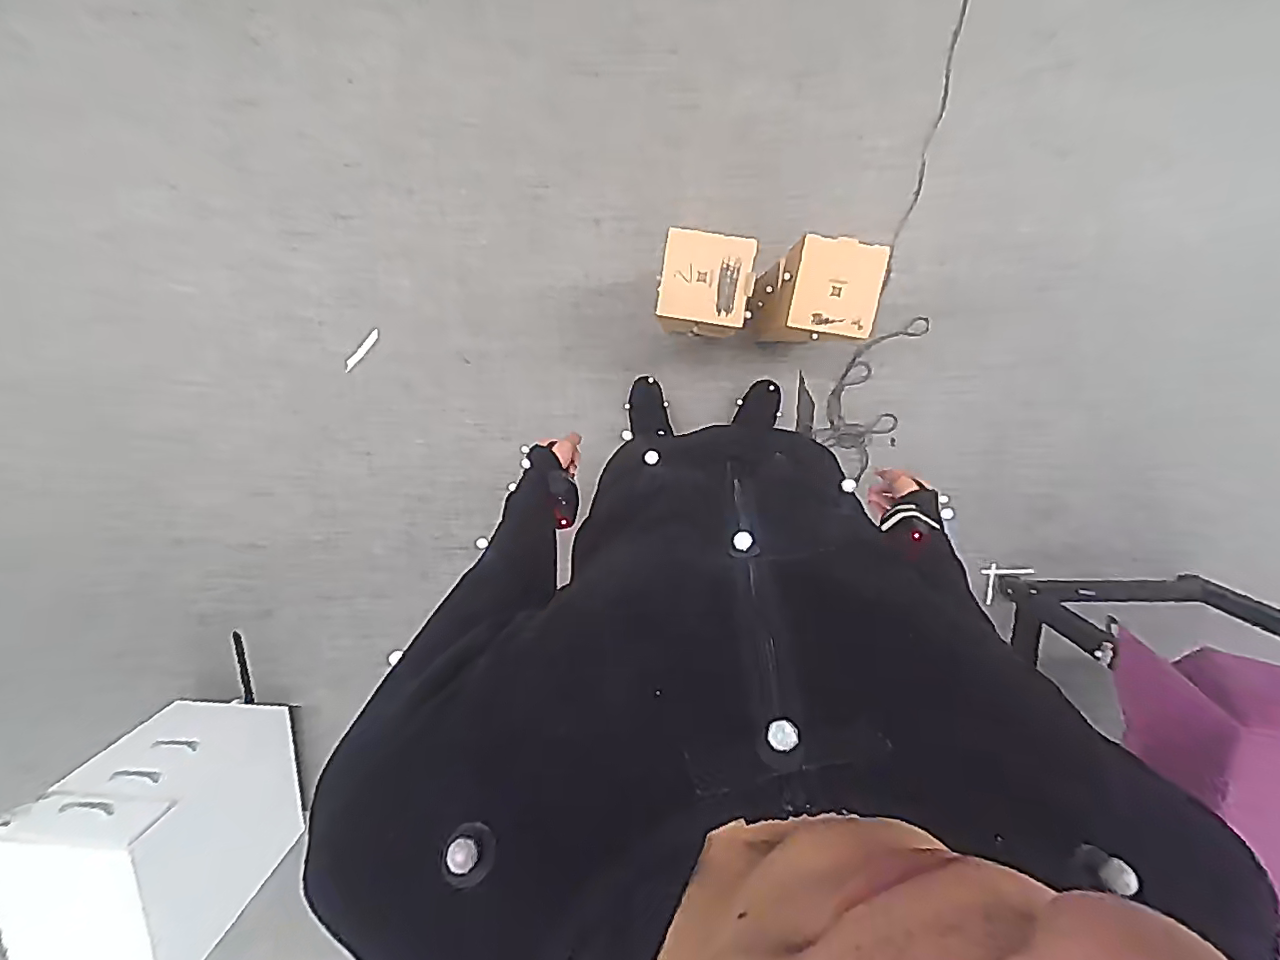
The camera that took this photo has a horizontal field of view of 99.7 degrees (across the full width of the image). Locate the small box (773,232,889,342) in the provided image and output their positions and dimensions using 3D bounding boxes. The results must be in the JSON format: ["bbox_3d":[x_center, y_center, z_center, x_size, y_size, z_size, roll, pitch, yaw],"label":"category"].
[{"bbox_3d":[0.385,-0.392,1.125,0.168,0.176,0.179,10,102,1],"label":"small box"}]

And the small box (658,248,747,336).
[{"bbox_3d":[0.143,-0.441,1.290,0.179,0.176,0.168,10,103,1],"label":"small box"}]

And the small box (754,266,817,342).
[{"bbox_3d":[0.403,-0.464,1.443,0.168,0.176,0.179,1,103,3],"label":"small box"}]

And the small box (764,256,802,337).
[{"bbox_3d":[0.396,-0.429,1.285,0.179,0.176,0.168,3,102,3],"label":"small box"}]
